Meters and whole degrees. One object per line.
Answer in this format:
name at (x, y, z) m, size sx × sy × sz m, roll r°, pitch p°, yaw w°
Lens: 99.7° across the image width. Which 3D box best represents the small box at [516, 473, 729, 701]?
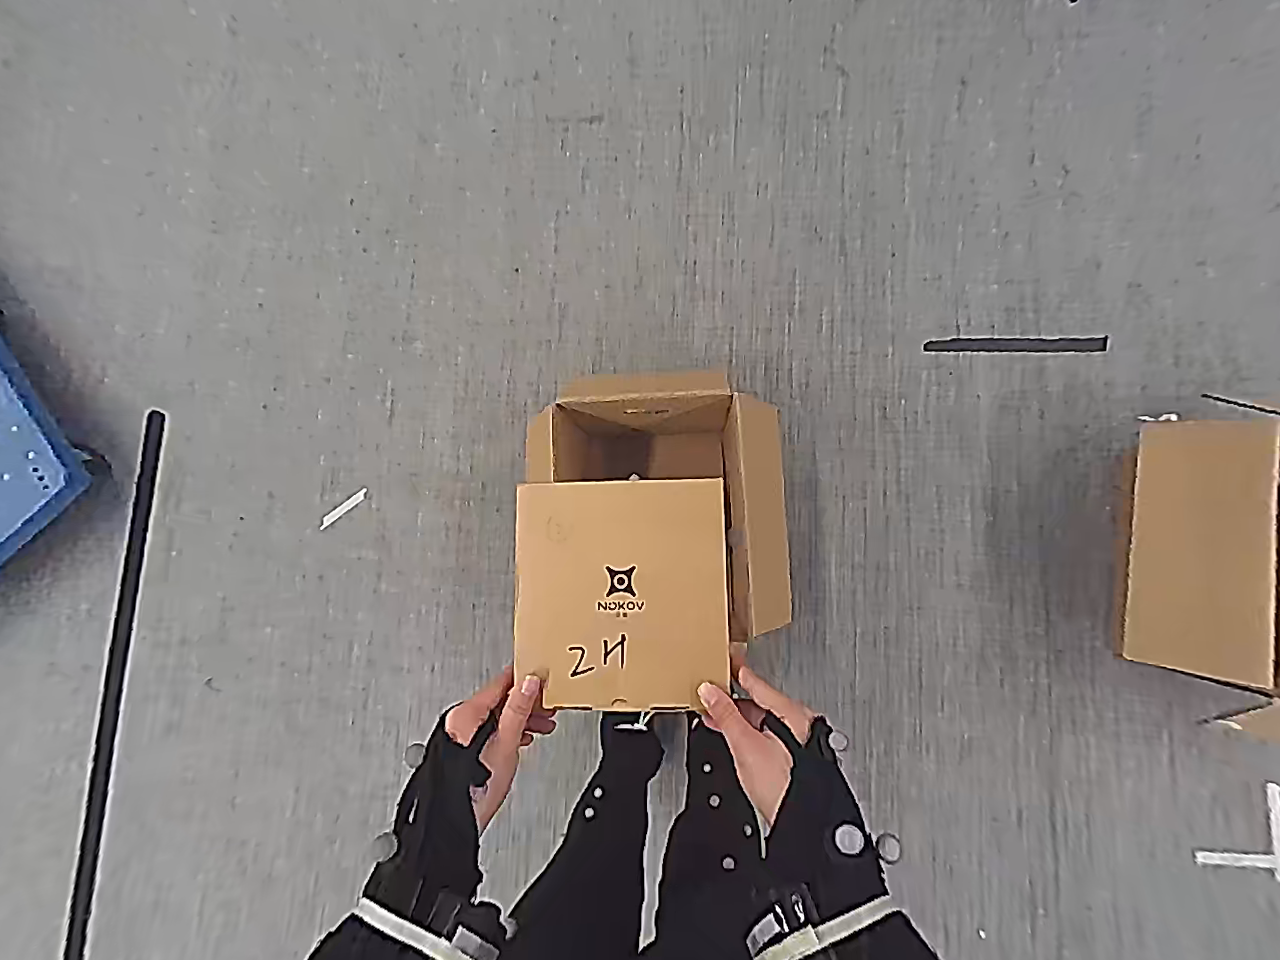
small box at (-0.009, 0.093, 0.501) m, size 0.168 × 0.176 × 0.179 m, roll -2°, pitch 82°, yaw 4°
